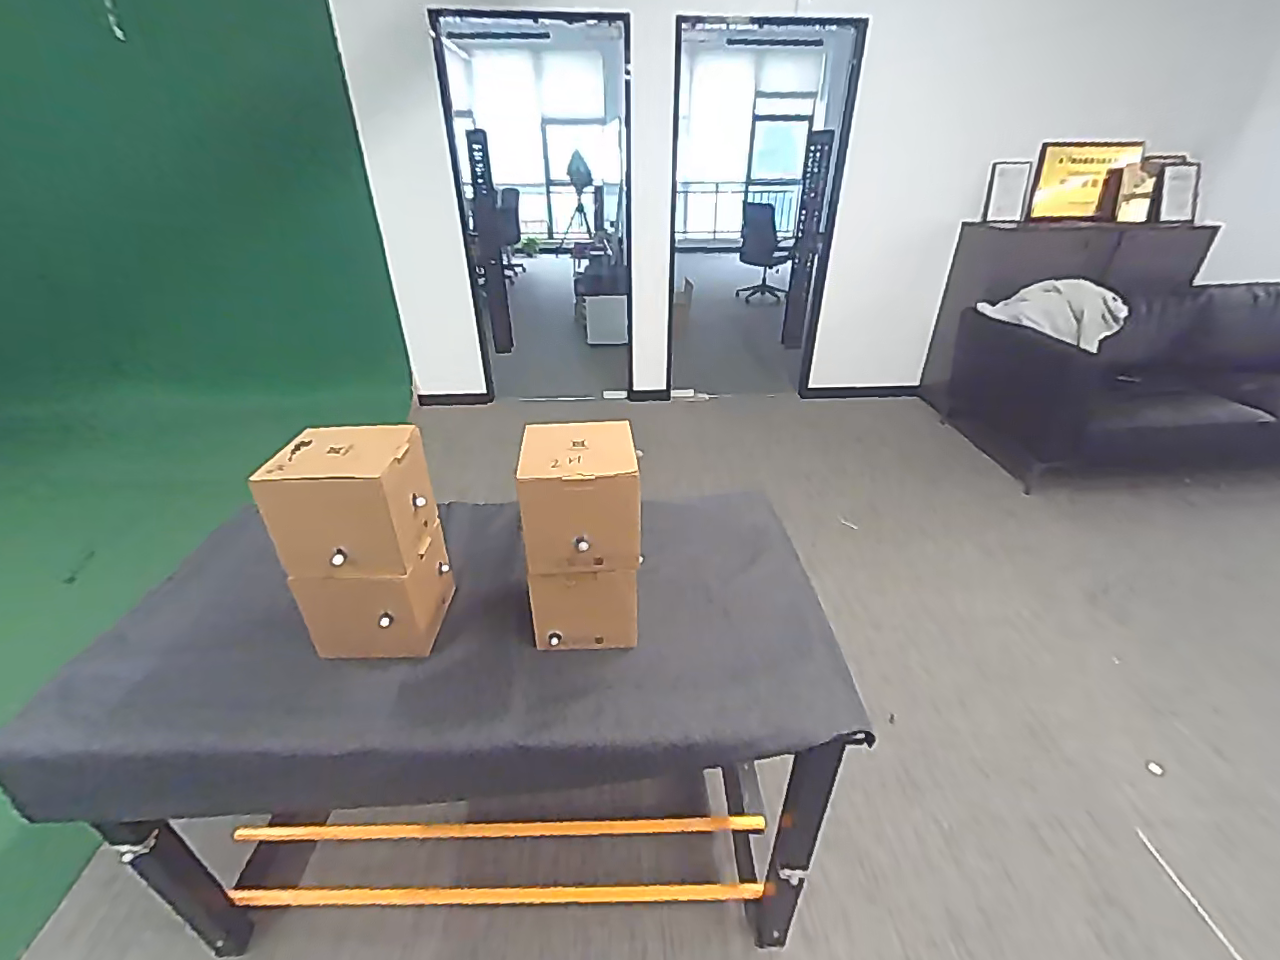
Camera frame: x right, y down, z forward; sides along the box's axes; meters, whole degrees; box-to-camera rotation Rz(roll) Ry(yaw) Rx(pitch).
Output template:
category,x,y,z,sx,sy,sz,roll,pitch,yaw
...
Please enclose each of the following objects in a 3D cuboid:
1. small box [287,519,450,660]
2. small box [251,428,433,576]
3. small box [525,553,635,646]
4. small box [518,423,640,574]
category,x,y,z,sx,sy,sz,roll,pitch,yaw
small box,-0.430,0.179,0.896,0.179,0.176,0.168,-1,29,-2
small box,-0.431,0.032,0.821,0.179,0.176,0.168,-1,29,-3
small box,-0.094,0.166,0.920,0.168,0.176,0.179,-1,29,-3
small box,-0.091,0.024,0.835,0.168,0.176,0.179,-3,30,-5
